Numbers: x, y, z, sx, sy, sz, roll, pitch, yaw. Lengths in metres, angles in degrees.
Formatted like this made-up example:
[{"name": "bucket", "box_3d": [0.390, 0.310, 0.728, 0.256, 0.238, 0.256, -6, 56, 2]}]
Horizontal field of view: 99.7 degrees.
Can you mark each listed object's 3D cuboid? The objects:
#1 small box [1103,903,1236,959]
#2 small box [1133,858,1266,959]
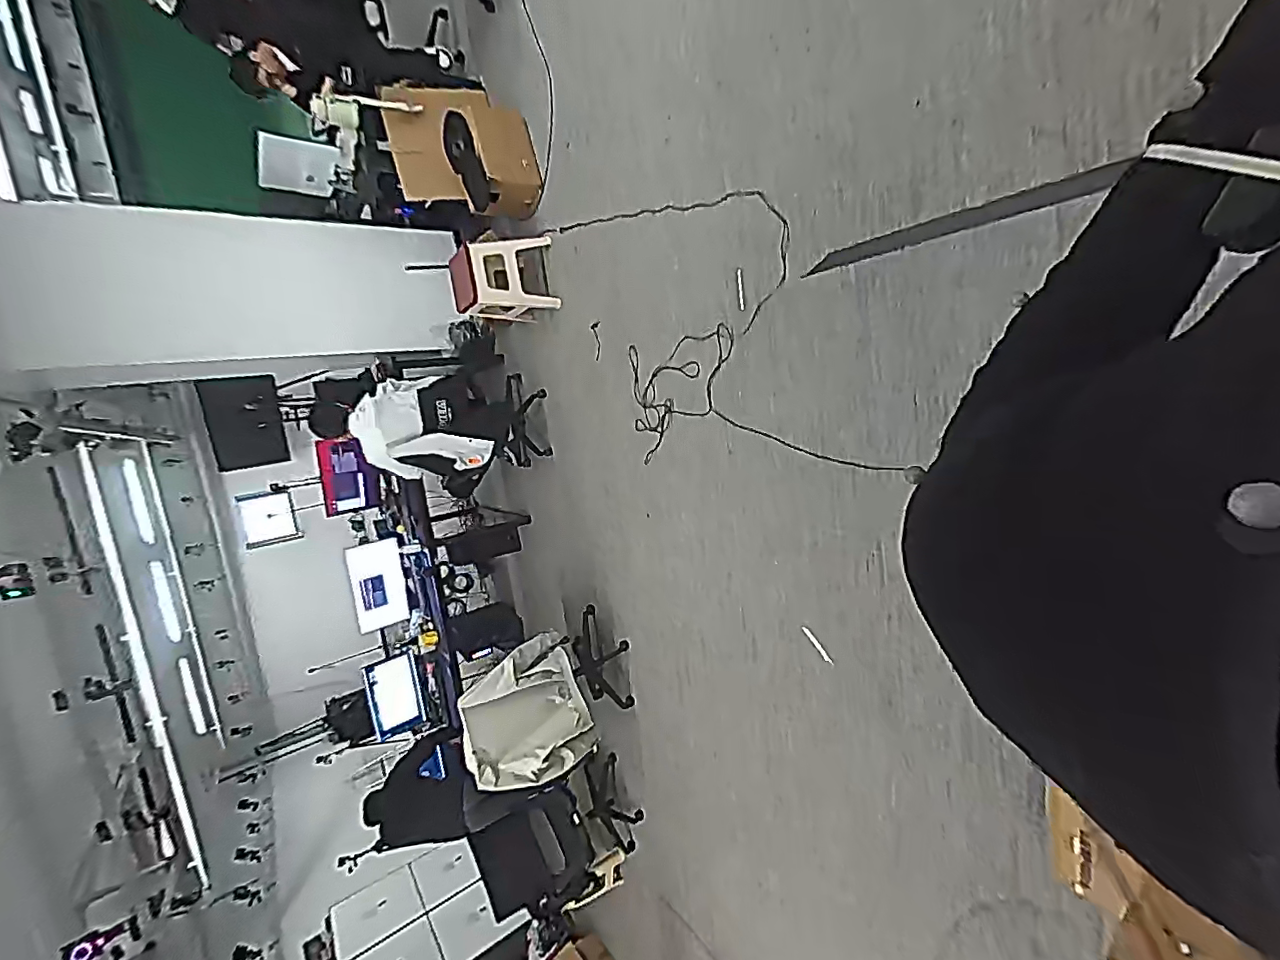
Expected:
[{"name": "small box", "box_3d": [0.989, 0.962, 1.008, 0.168, 0.176, 0.179, 10, 109, 54]}, {"name": "small box", "box_3d": [1.126, 0.927, 1.091, 0.168, 0.176, 0.179, 4, 105, 55]}]
